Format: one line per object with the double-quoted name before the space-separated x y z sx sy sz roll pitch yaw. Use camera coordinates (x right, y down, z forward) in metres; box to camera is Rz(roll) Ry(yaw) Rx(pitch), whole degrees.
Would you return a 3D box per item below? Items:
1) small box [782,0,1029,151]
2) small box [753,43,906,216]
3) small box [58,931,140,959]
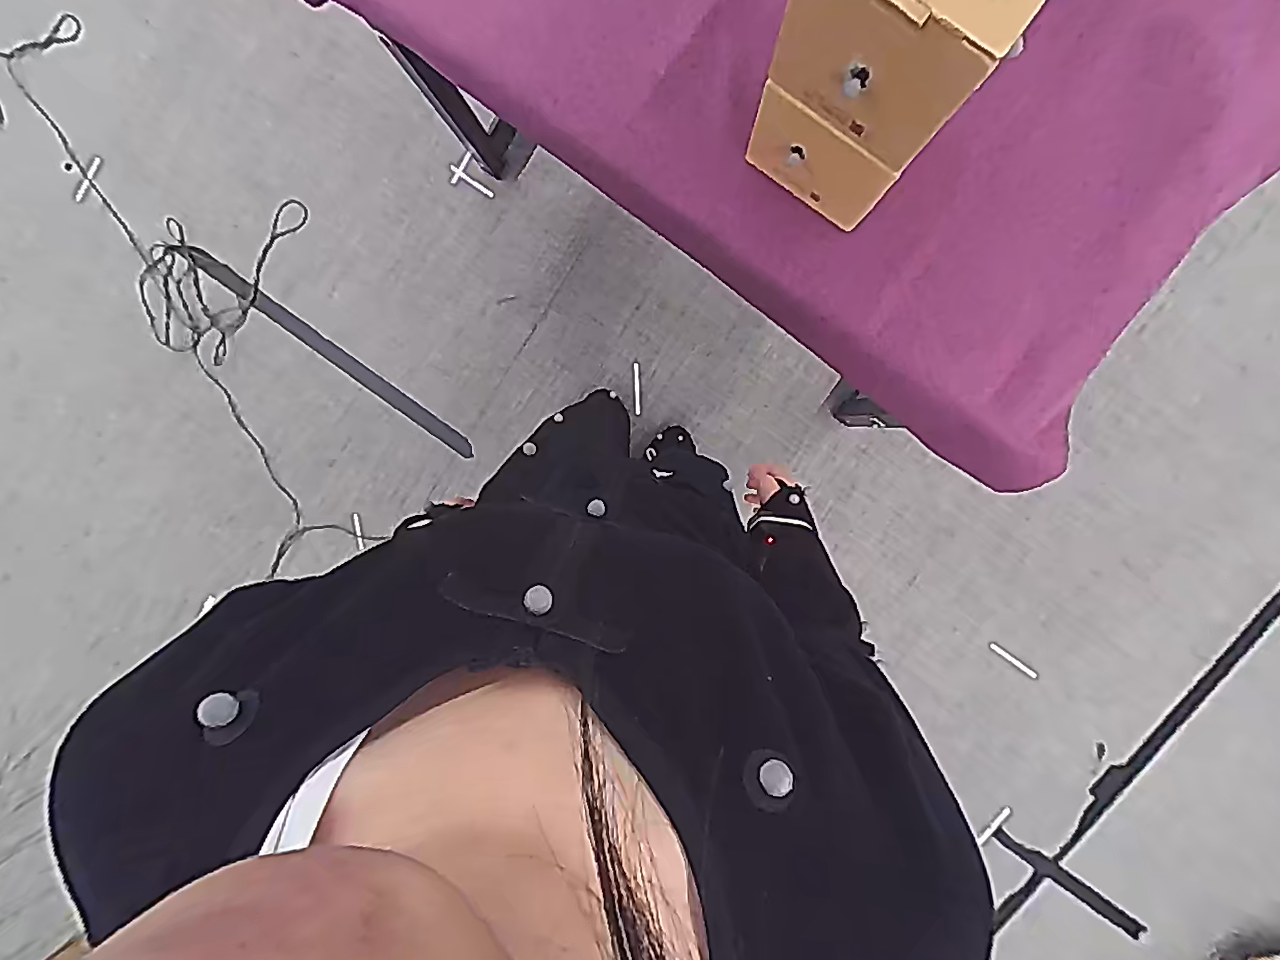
"small box" 0.237 -0.422 0.445 0.168 0.176 0.179 36 98 -1
"small box" 0.244 -0.438 0.608 0.168 0.176 0.179 35 97 -1
"small box" -1.223 1.138 1.164 0.168 0.176 0.179 30 99 1
